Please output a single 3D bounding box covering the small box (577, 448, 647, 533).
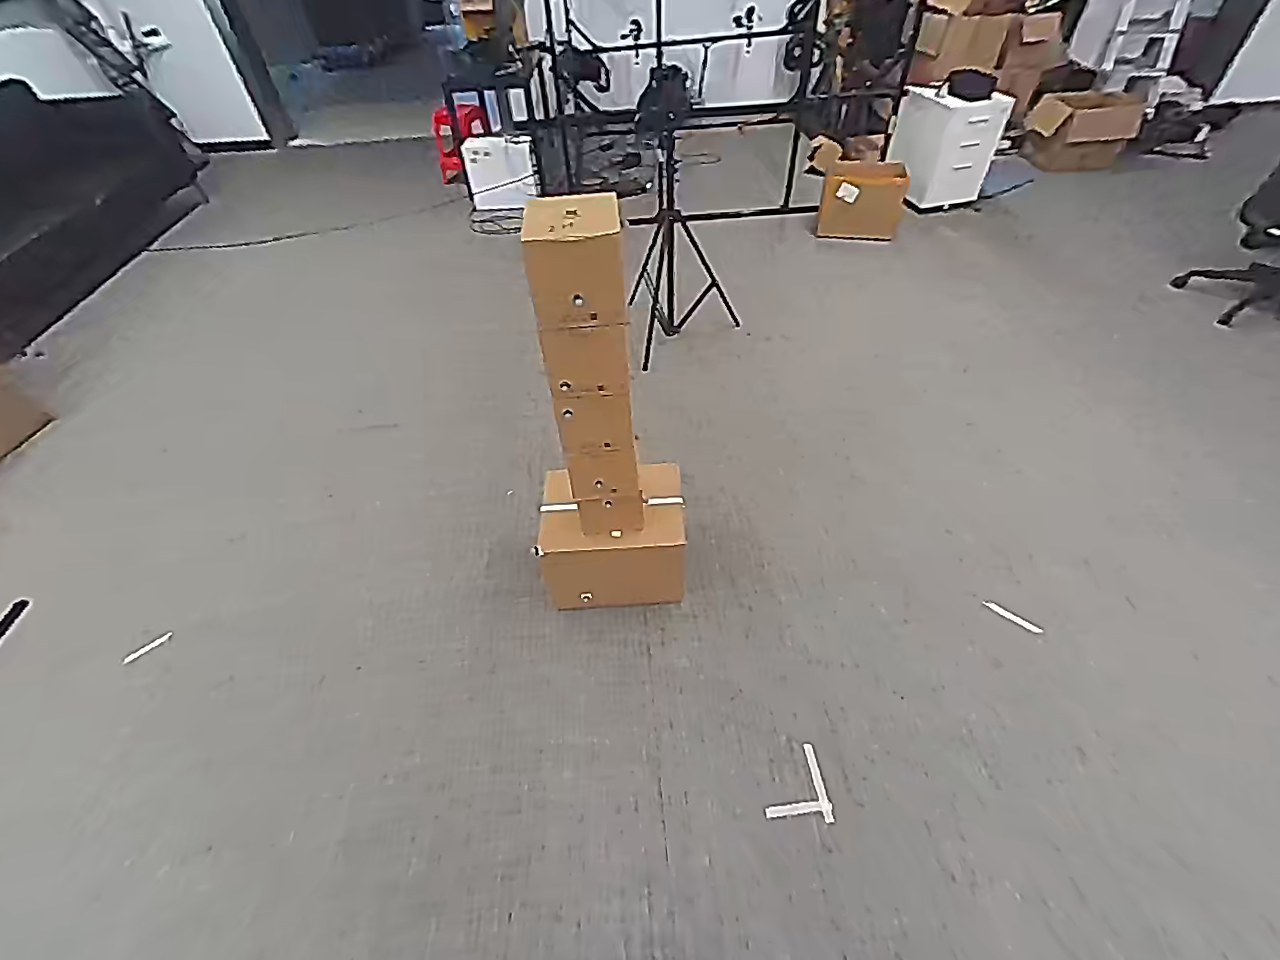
[{"bbox_3d":[-0.077,0.033,1.487,0.179,0.176,0.168,-5,48,-2],"label":"small box"}]

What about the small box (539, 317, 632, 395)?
[{"bbox_3d":[-0.104,-0.287,1.117,0.168,0.176,0.179,-3,48,1],"label":"small box"}]

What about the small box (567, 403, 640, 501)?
[{"bbox_3d":[-0.089,-0.070,1.362,0.168,0.176,0.179,-5,49,0],"label":"small box"}]

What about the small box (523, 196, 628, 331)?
[{"bbox_3d":[-0.112,-0.396,0.993,0.168,0.176,0.179,-6,49,0],"label":"small box"}]
